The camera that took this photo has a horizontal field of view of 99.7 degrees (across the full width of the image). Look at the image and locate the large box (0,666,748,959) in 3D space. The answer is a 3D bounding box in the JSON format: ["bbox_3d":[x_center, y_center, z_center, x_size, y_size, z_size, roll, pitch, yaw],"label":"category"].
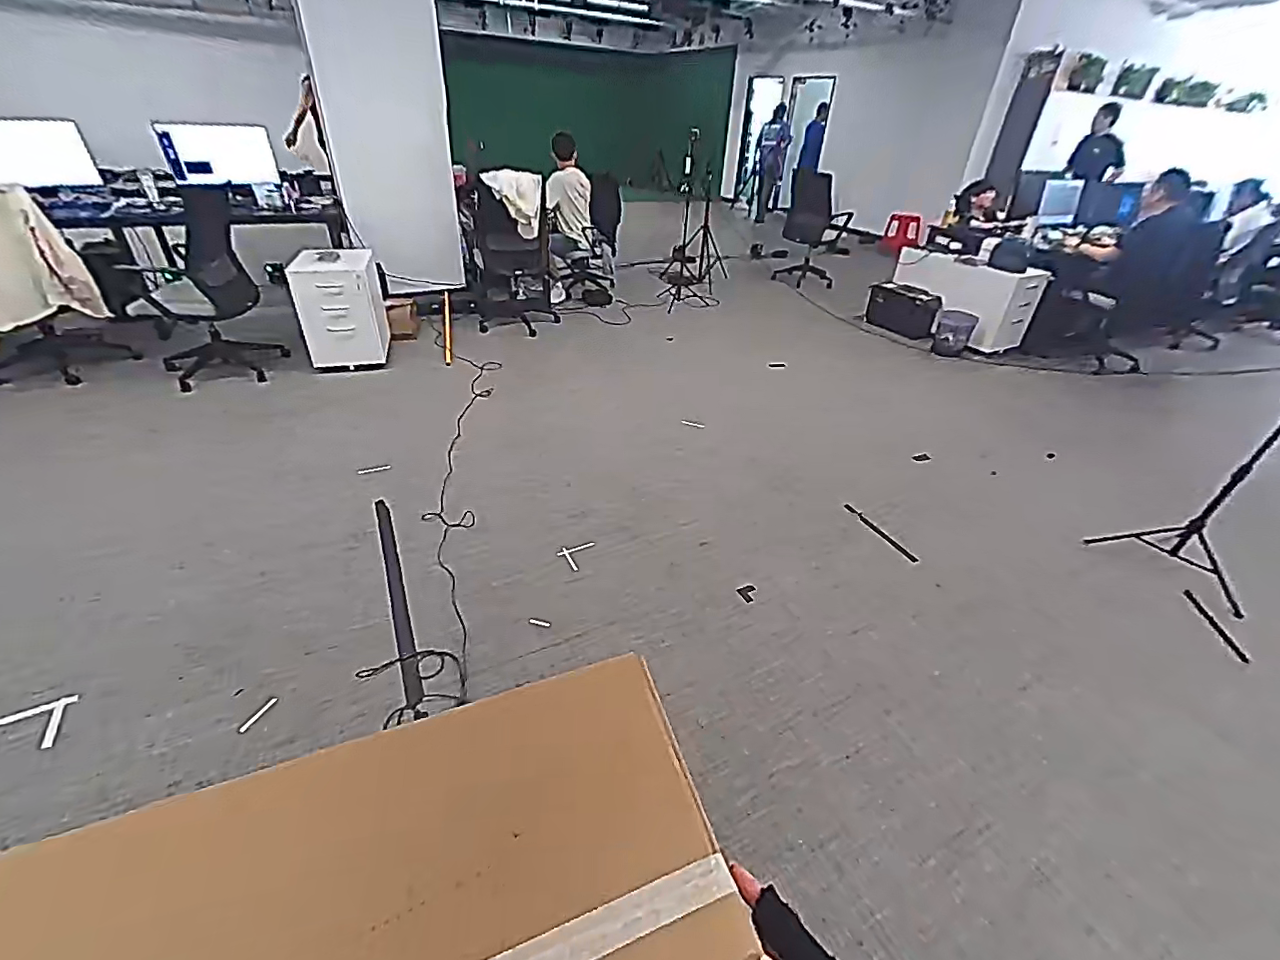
[{"bbox_3d":[-0.144,0.397,0.379,0.408,0.320,0.320,-13,45,-17],"label":"large box"}]
